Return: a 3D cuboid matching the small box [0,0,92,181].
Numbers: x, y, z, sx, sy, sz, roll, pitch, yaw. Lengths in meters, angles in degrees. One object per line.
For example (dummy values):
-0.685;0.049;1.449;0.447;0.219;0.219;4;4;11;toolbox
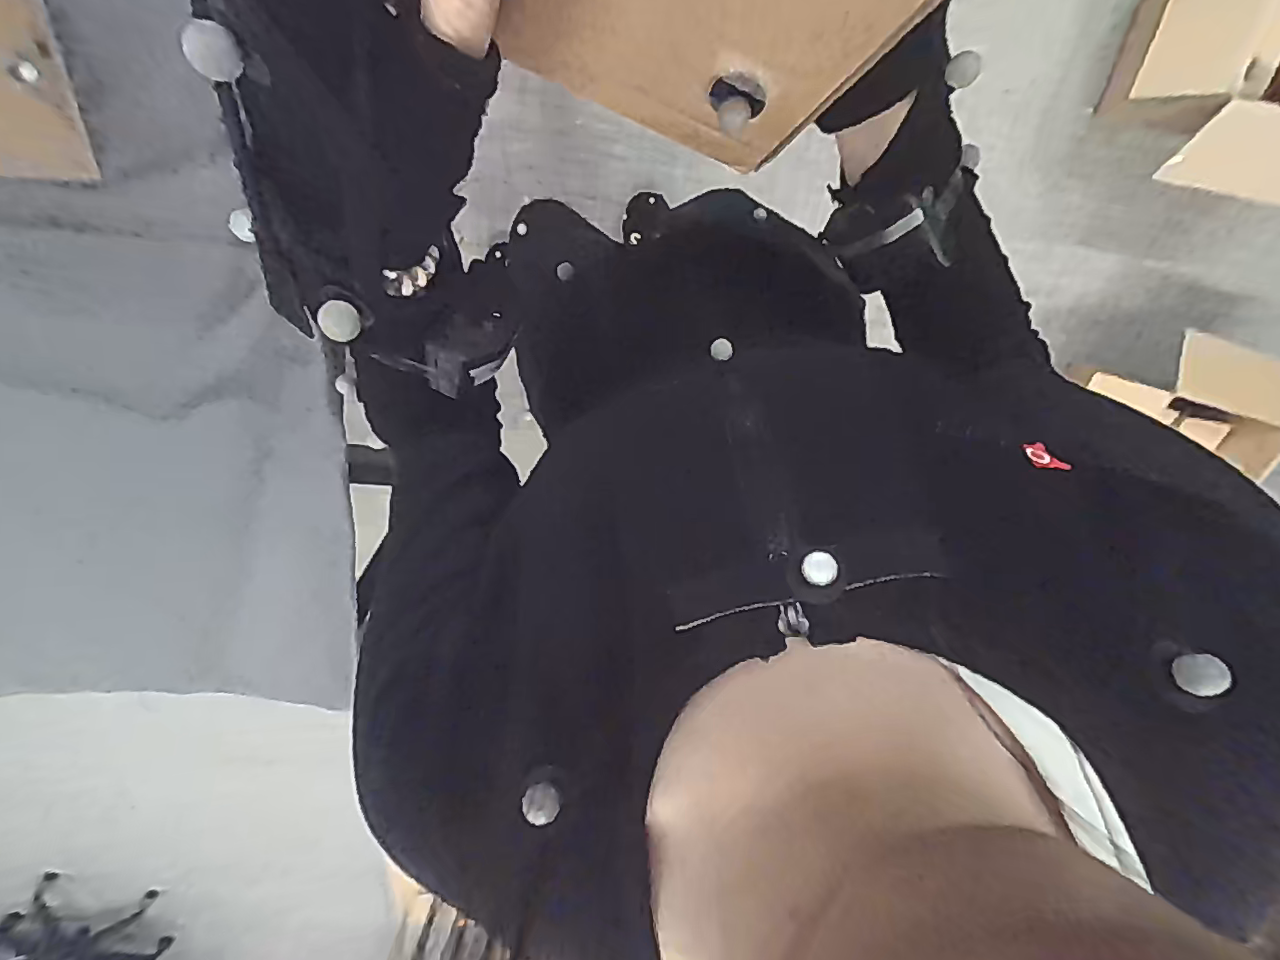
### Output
-0.617;-0.340;0.428;0.179;0.176;0.168;2;117;-6;small box
